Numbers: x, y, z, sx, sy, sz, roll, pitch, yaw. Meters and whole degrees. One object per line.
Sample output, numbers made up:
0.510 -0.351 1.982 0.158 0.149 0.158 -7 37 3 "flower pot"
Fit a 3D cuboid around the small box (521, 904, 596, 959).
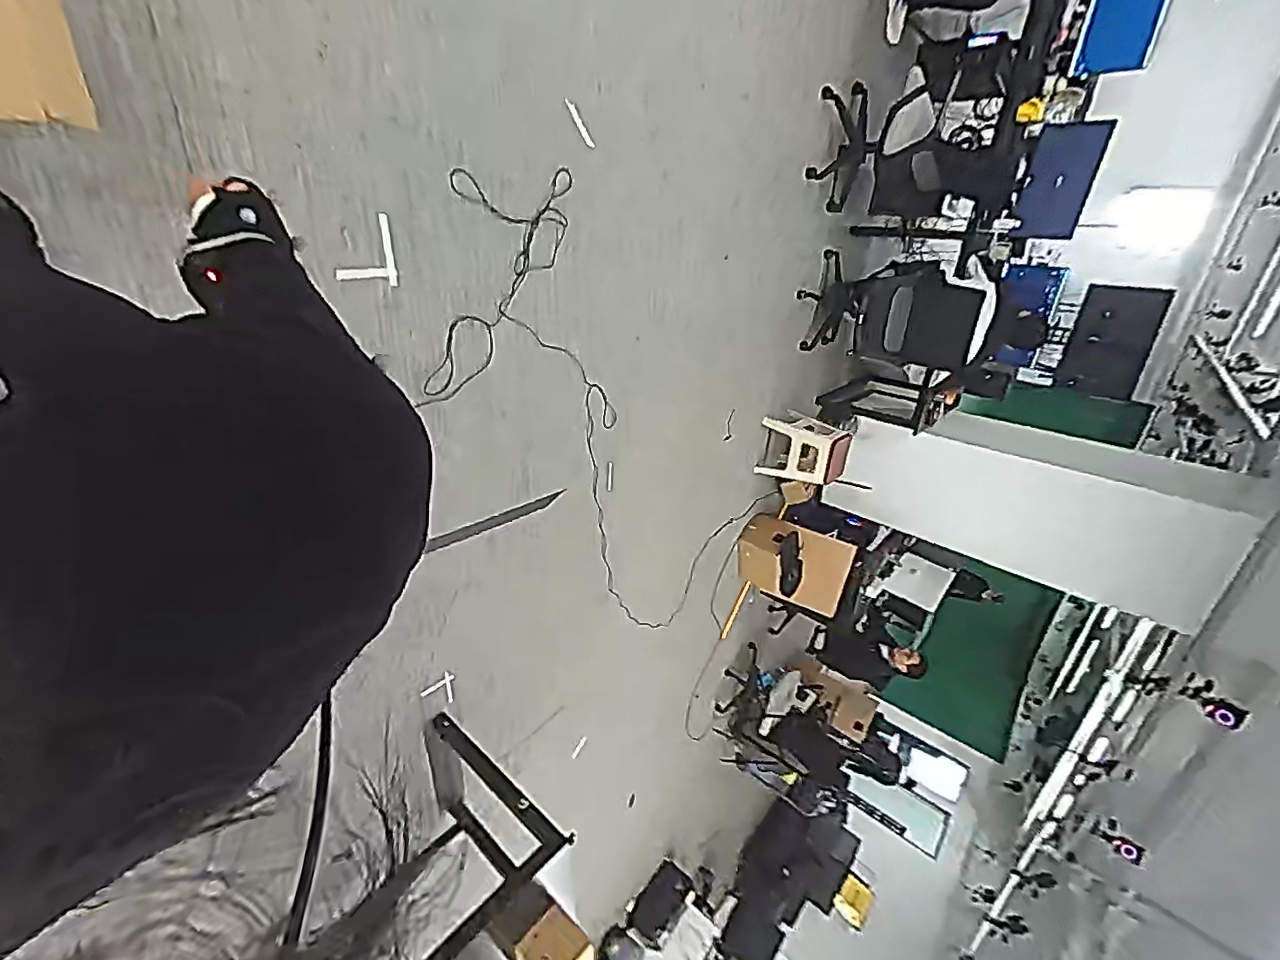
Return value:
-0.255 1.475 1.676 0.168 0.176 0.179 -26 128 -42 "small box"
